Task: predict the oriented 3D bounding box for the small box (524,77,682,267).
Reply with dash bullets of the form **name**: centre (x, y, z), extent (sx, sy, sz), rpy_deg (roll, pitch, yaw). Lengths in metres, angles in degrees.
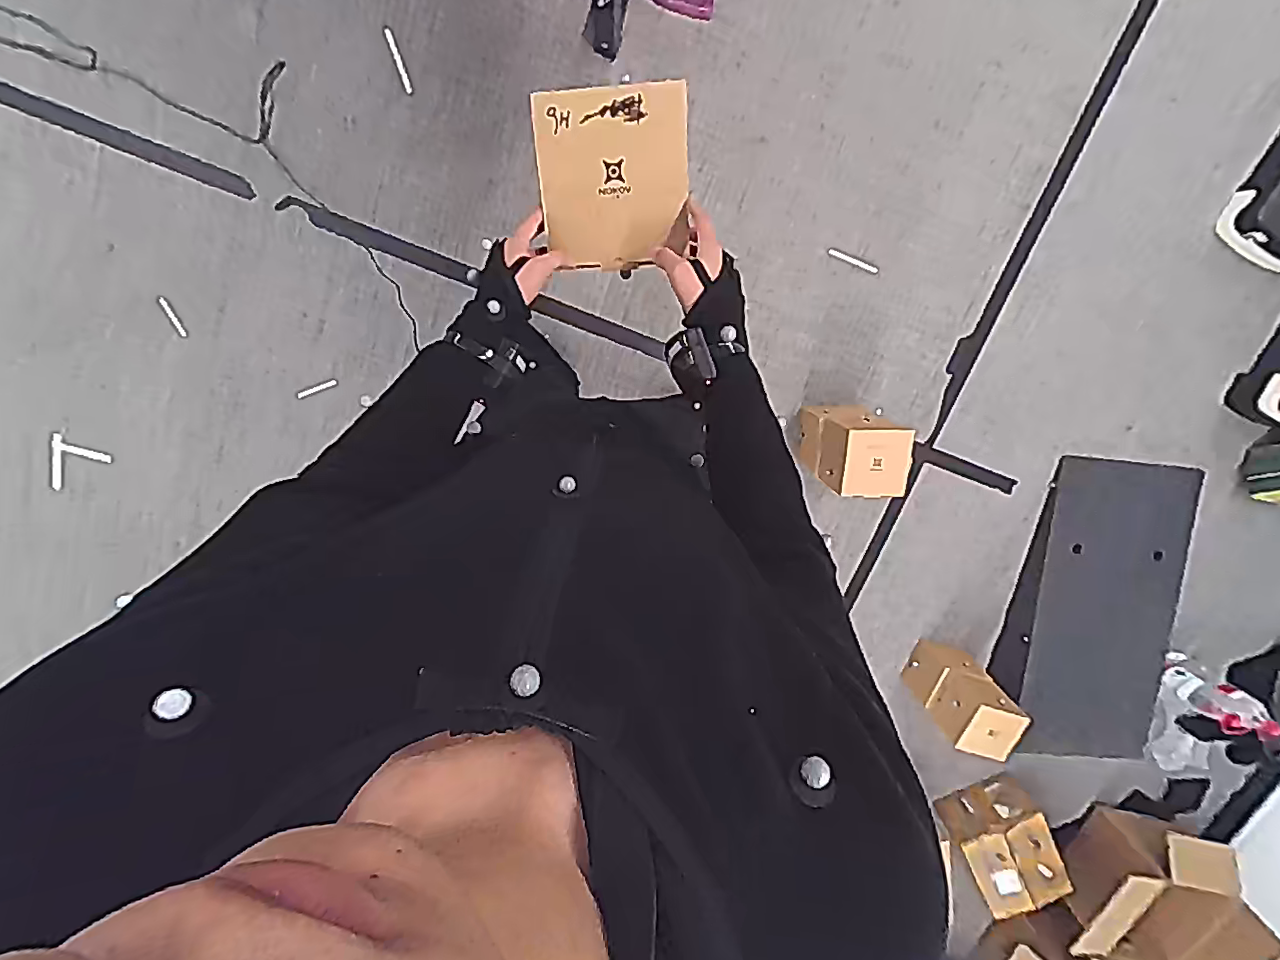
- **small box**: centre (-0.032, -0.364, 0.666), extent (0.168, 0.176, 0.179), rpy_deg (-2, 113, 5)
